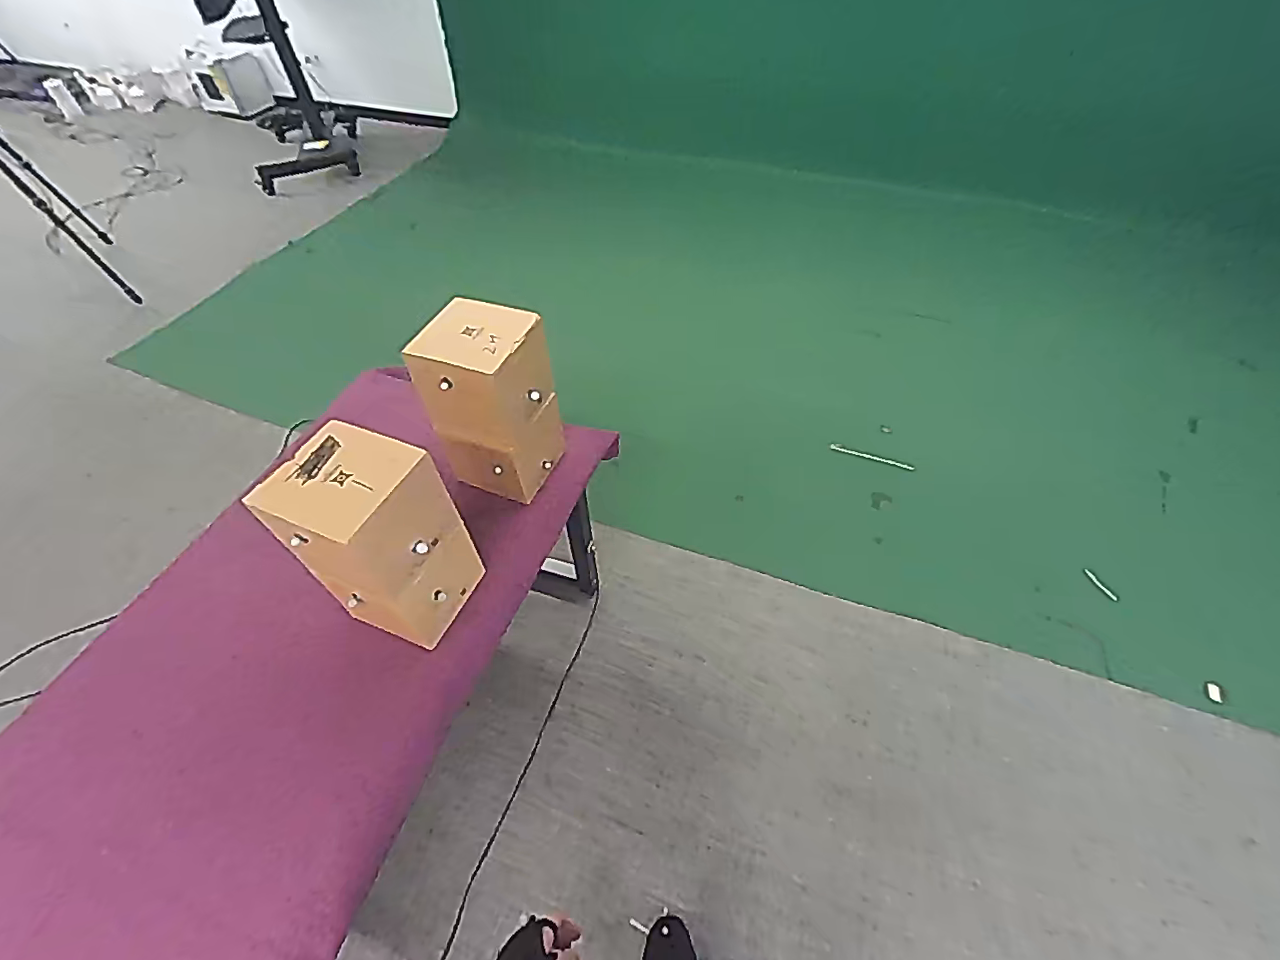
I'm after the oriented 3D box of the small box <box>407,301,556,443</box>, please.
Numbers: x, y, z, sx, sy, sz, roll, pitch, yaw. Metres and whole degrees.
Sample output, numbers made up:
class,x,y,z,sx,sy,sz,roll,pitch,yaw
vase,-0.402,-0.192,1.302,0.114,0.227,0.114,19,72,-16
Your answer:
class,x,y,z,sx,sy,sz,roll,pitch,yaw
small box,-0.271,-0.189,0.967,0.179,0.176,0.168,16,55,14

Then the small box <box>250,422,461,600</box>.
class,x,y,z,sx,sy,sz,roll,pitch,yaw
small box,-0.394,0.048,0.782,0.179,0.176,0.168,18,54,16

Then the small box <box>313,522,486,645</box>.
class,x,y,z,sx,sy,sz,roll,pitch,yaw
small box,-0.387,0.154,0.907,0.179,0.176,0.168,17,54,16
